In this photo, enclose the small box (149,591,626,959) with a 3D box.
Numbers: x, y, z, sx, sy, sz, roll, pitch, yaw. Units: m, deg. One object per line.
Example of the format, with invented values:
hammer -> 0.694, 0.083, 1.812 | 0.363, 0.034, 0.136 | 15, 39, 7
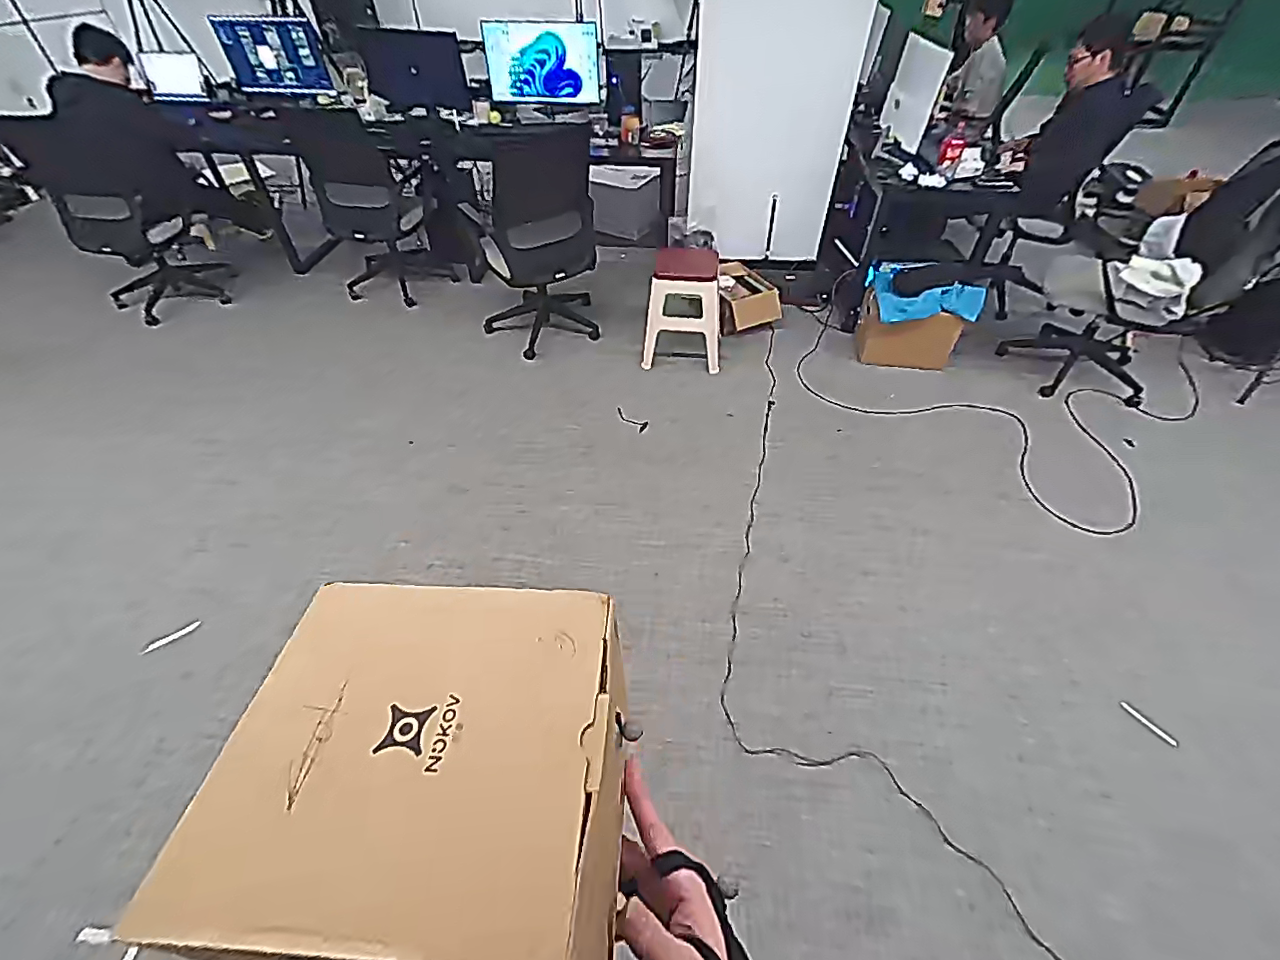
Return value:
small box -> -0.102, 0.184, 0.320 | 0.179, 0.176, 0.168 | 0, 41, 4
